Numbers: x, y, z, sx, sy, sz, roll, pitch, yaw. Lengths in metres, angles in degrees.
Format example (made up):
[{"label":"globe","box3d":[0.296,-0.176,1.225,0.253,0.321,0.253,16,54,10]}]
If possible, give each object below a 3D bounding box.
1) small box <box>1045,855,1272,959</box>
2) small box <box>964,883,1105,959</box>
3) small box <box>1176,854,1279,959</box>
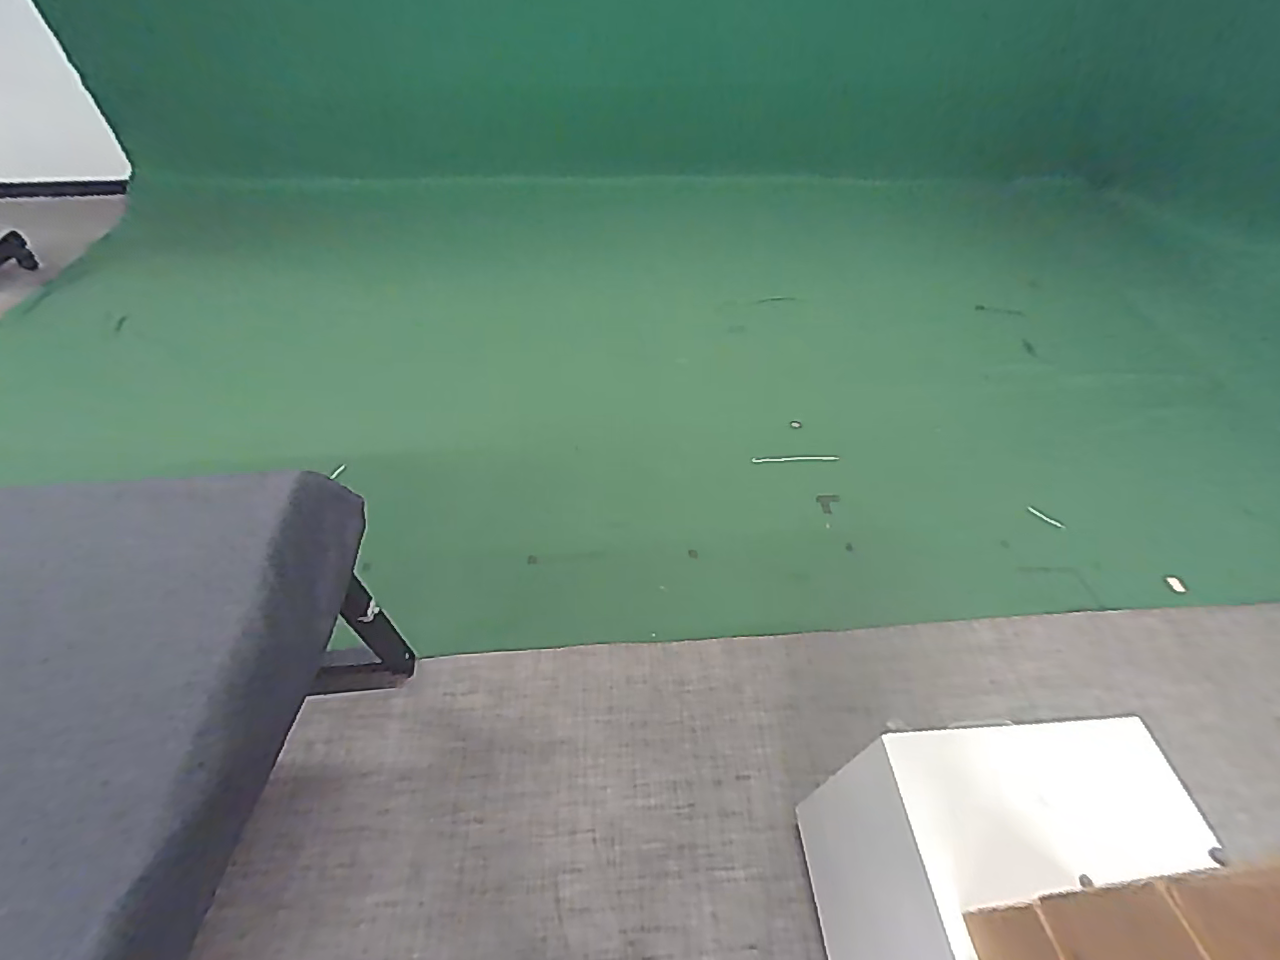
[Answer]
[{"label":"small box","box3d":[0.484,0.408,0.424,0.179,0.176,0.168,-7,50,-8]},{"label":"small box","box3d":[0.478,0.518,0.546,0.179,0.176,0.168,-7,49,-5]},{"label":"small box","box3d":[0.483,0.302,0.300,0.168,0.176,0.179,-7,49,-6]}]
